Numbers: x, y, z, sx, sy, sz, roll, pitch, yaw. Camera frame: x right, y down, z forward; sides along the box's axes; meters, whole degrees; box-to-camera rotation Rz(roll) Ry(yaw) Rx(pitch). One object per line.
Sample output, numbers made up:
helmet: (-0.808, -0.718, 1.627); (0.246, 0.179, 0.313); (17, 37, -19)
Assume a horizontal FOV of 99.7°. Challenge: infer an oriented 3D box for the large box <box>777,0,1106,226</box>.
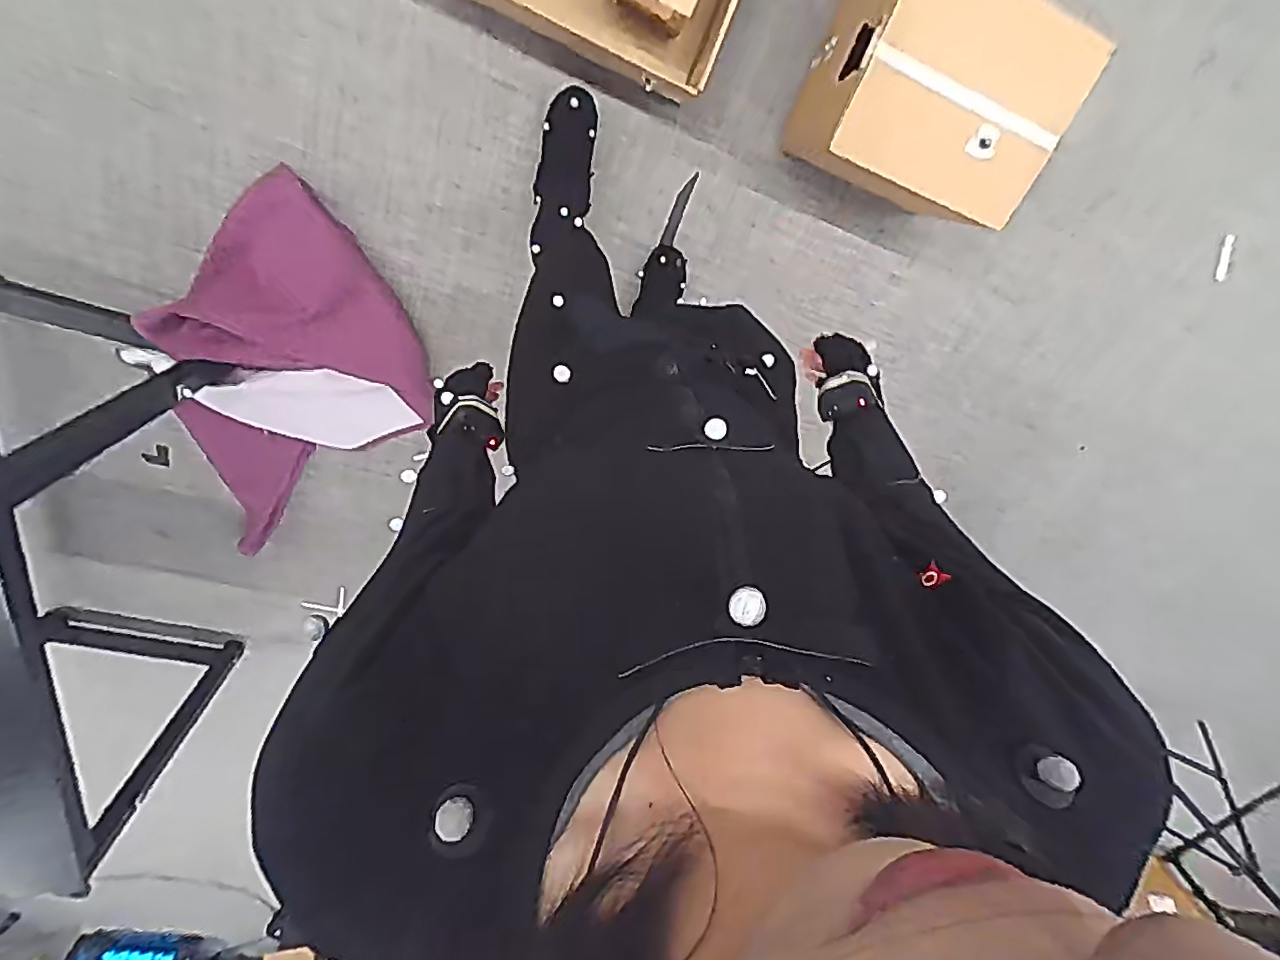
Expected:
large box: (0.553, -0.747, 1.077); (0.408, 0.320, 0.320); (14, 119, -15)
